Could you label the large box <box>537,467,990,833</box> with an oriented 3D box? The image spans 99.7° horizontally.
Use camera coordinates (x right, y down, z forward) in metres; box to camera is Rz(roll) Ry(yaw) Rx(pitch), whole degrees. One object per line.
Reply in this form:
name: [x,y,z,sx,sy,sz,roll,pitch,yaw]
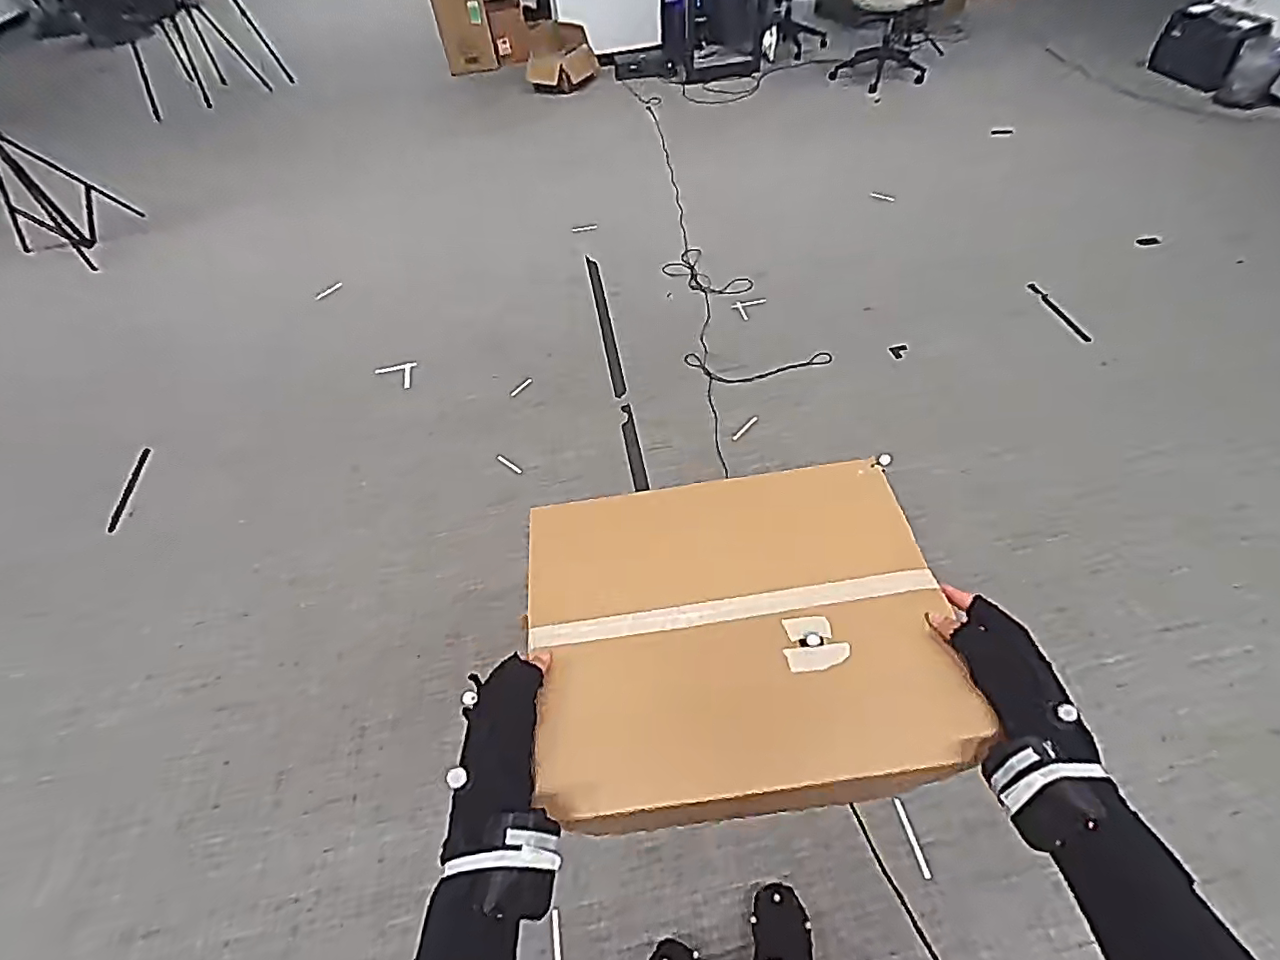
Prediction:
large box: [0.105,0.224,0.676,0.408,0.320,0.320,-9,55,0]
